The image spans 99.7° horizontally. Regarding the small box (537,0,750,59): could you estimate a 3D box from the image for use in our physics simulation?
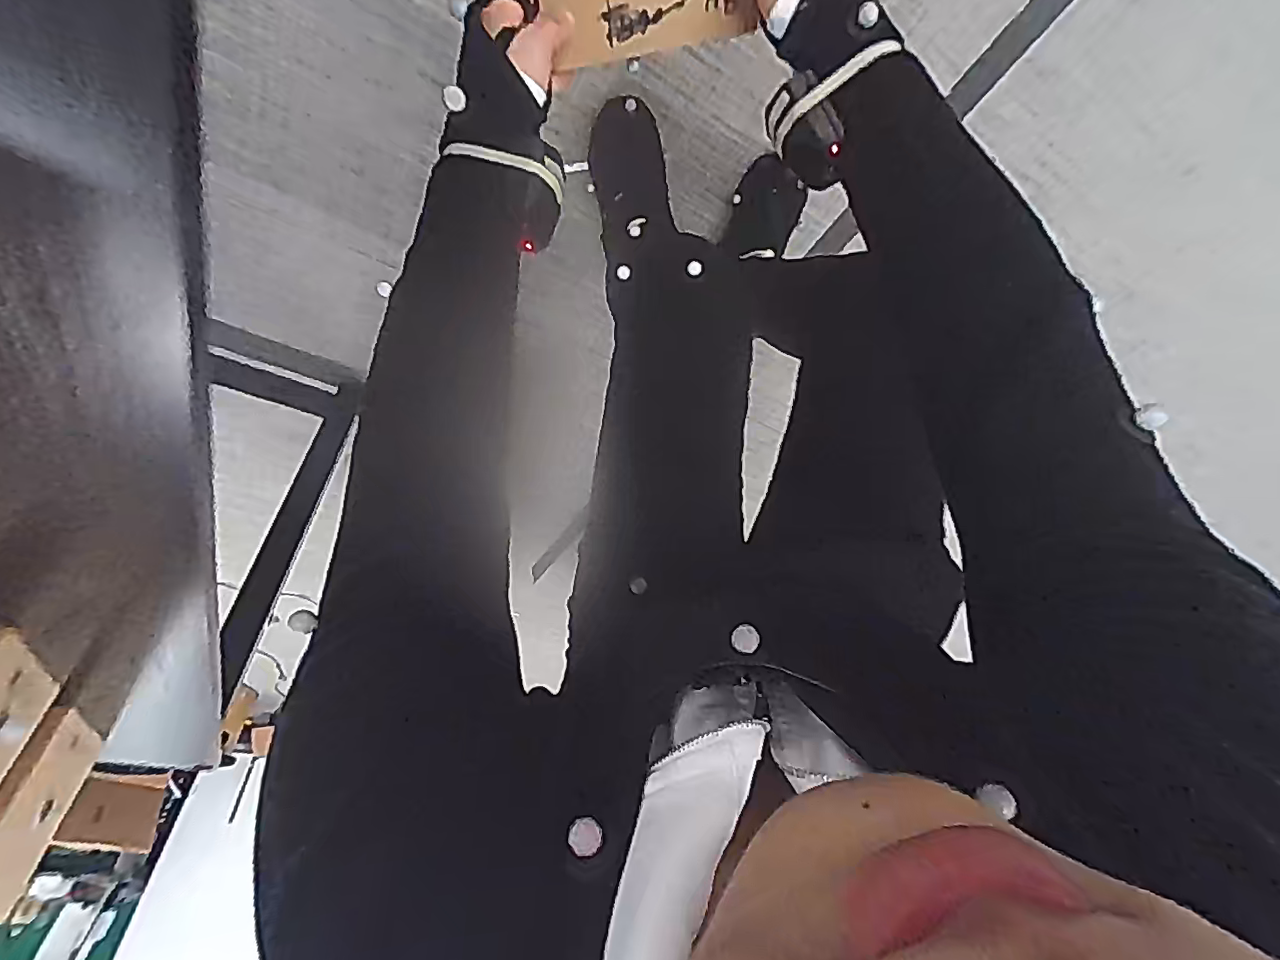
[{"bbox_3d":[-0.009,-0.468,0.426,0.168,0.176,0.179,-7,137,6],"label":"small box"}]

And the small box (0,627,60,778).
[{"bbox_3d":[-0.565,0.188,0.360,0.179,0.176,0.168,19,138,-24],"label":"small box"}]
